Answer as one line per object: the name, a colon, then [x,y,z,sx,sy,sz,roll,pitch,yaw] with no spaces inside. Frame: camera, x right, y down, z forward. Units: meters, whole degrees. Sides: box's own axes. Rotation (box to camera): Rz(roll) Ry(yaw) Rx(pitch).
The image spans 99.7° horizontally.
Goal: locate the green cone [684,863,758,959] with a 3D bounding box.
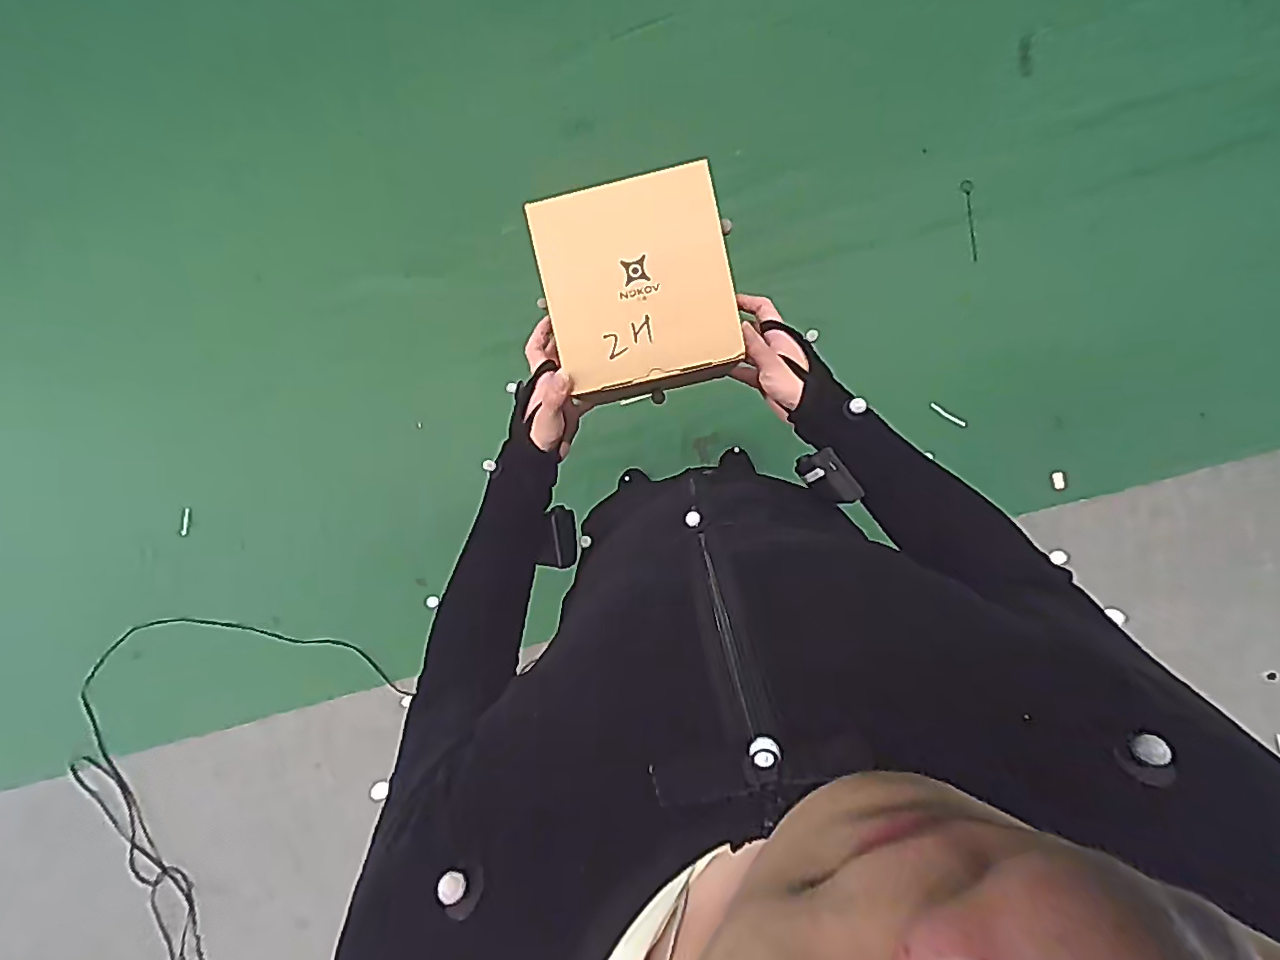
green cone: [0.242,1.319,1.529,0.202,0.368,0.200,-16,92,4]
